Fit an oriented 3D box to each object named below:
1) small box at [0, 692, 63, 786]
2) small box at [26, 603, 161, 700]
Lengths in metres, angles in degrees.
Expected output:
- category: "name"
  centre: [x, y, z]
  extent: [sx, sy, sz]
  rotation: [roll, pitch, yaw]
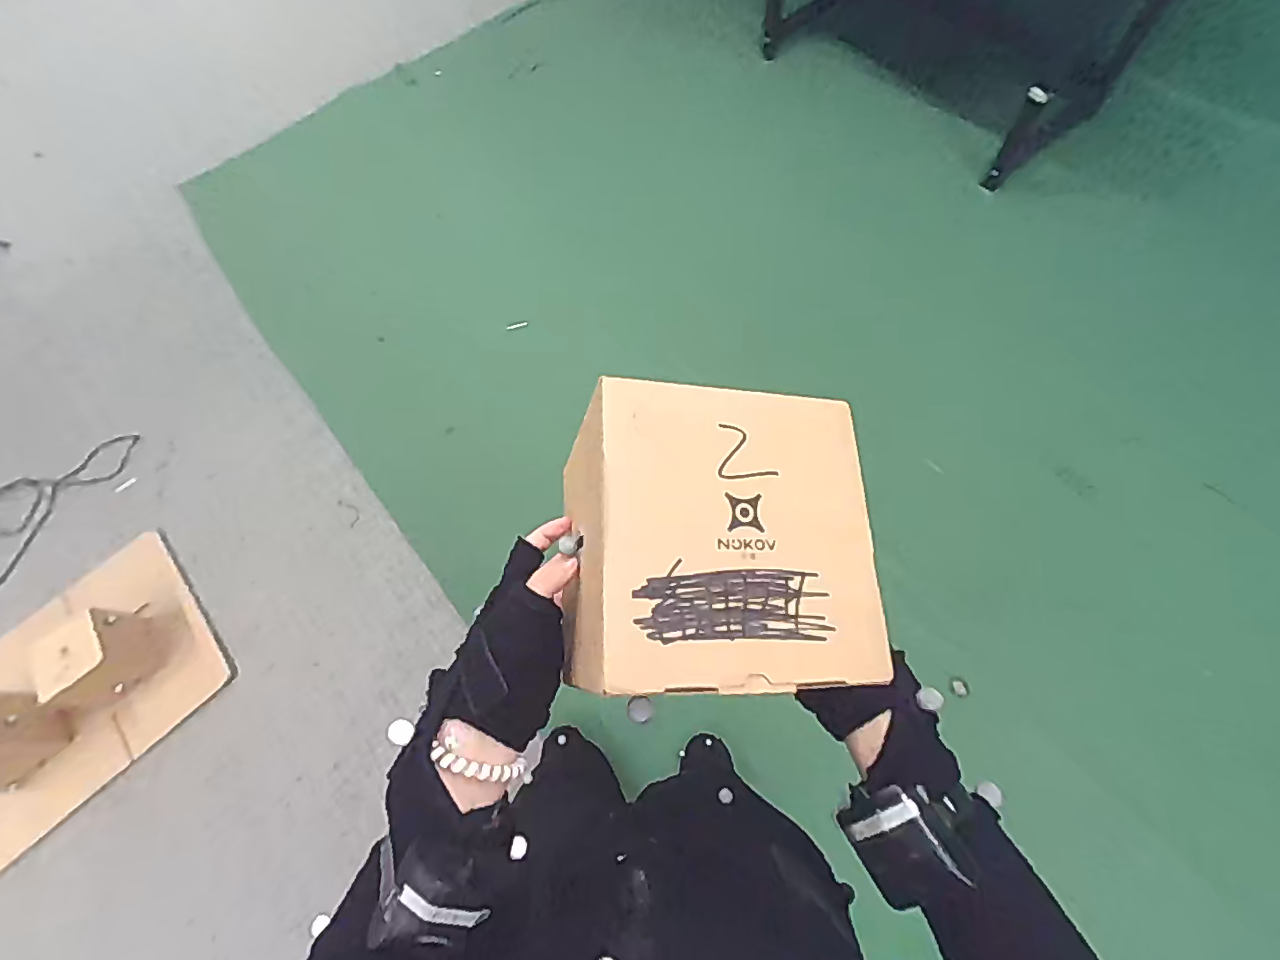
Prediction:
- category: "small box"
  centre: [-1.609, 0.644, 1.342]
  extent: [0.179, 0.176, 0.168]
  rotation: [41, 76, 22]
- category: "small box"
  centre: [-1.417, 0.454, 1.411]
  extent: [0.168, 0.176, 0.179]
  rotation: [-38, 68, -10]
